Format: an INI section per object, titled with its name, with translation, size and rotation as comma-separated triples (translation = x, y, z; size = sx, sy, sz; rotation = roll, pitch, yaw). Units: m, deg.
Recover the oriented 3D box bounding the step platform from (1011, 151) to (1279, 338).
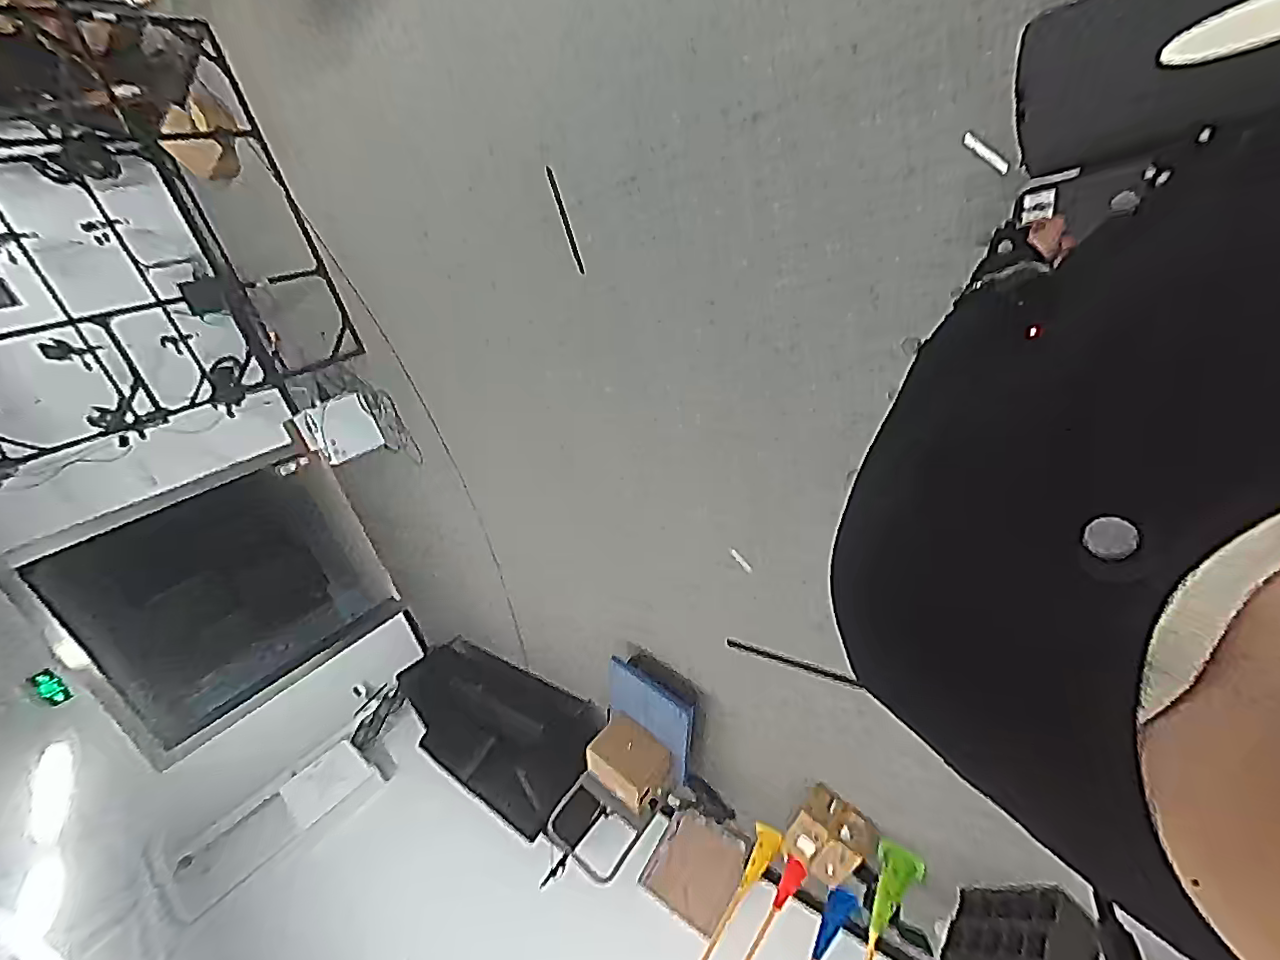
[step platform]
translation = 1.061, -0.415, 0.944
size = 0.684, 0.204, 0.286
rotation = 11, 123, 43
